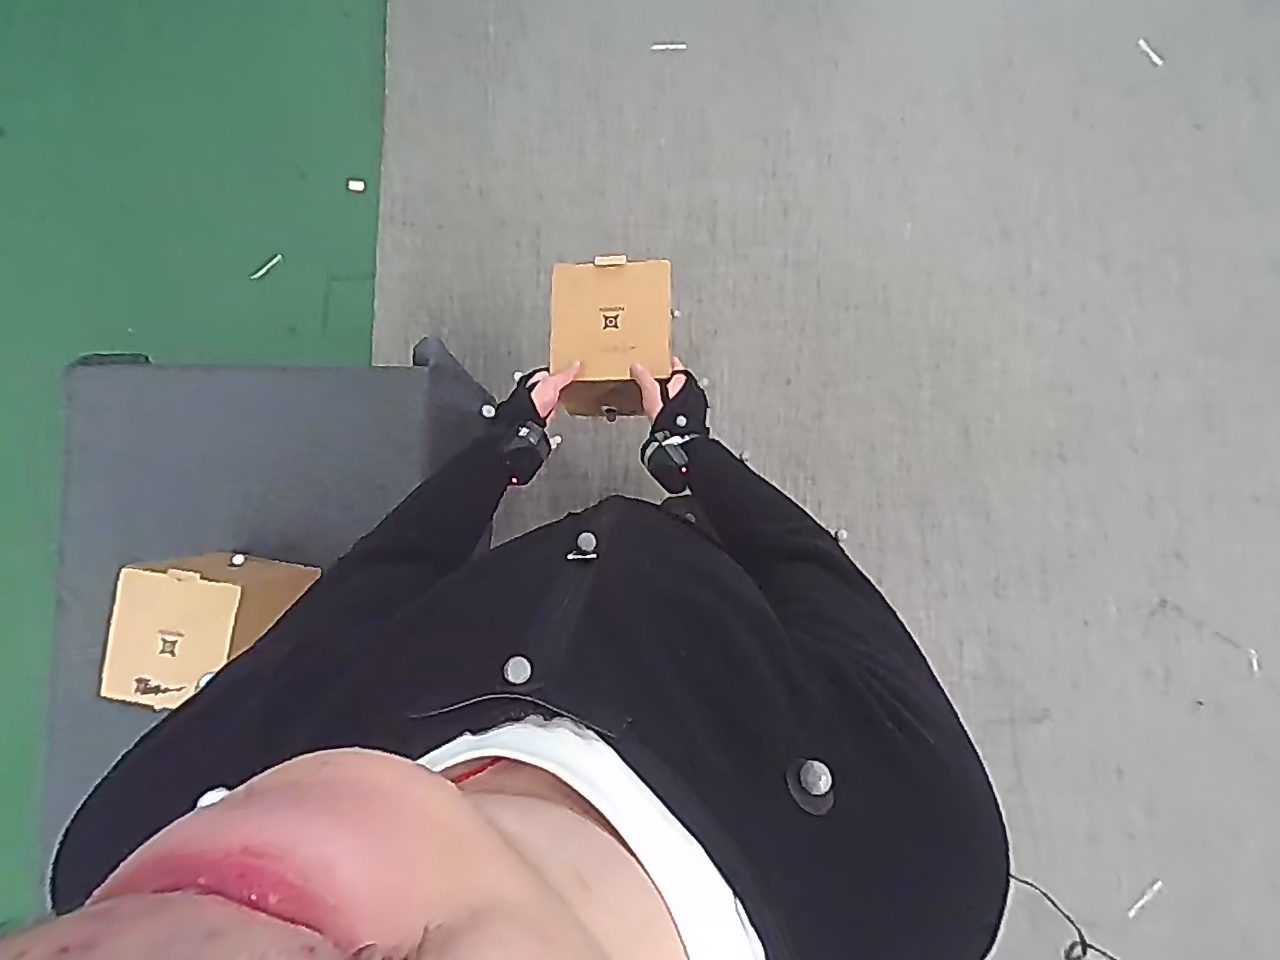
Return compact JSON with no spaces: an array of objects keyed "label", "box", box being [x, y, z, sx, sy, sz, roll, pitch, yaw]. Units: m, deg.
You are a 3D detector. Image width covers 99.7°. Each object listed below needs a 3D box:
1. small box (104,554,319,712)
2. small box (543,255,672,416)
[{"label":"small box","box":[-0.607,0.209,0.791,0.168,0.176,0.179,9,88,2]},{"label":"small box","box":[-0.039,-0.204,0.794,0.168,0.176,0.179,1,80,4]}]
